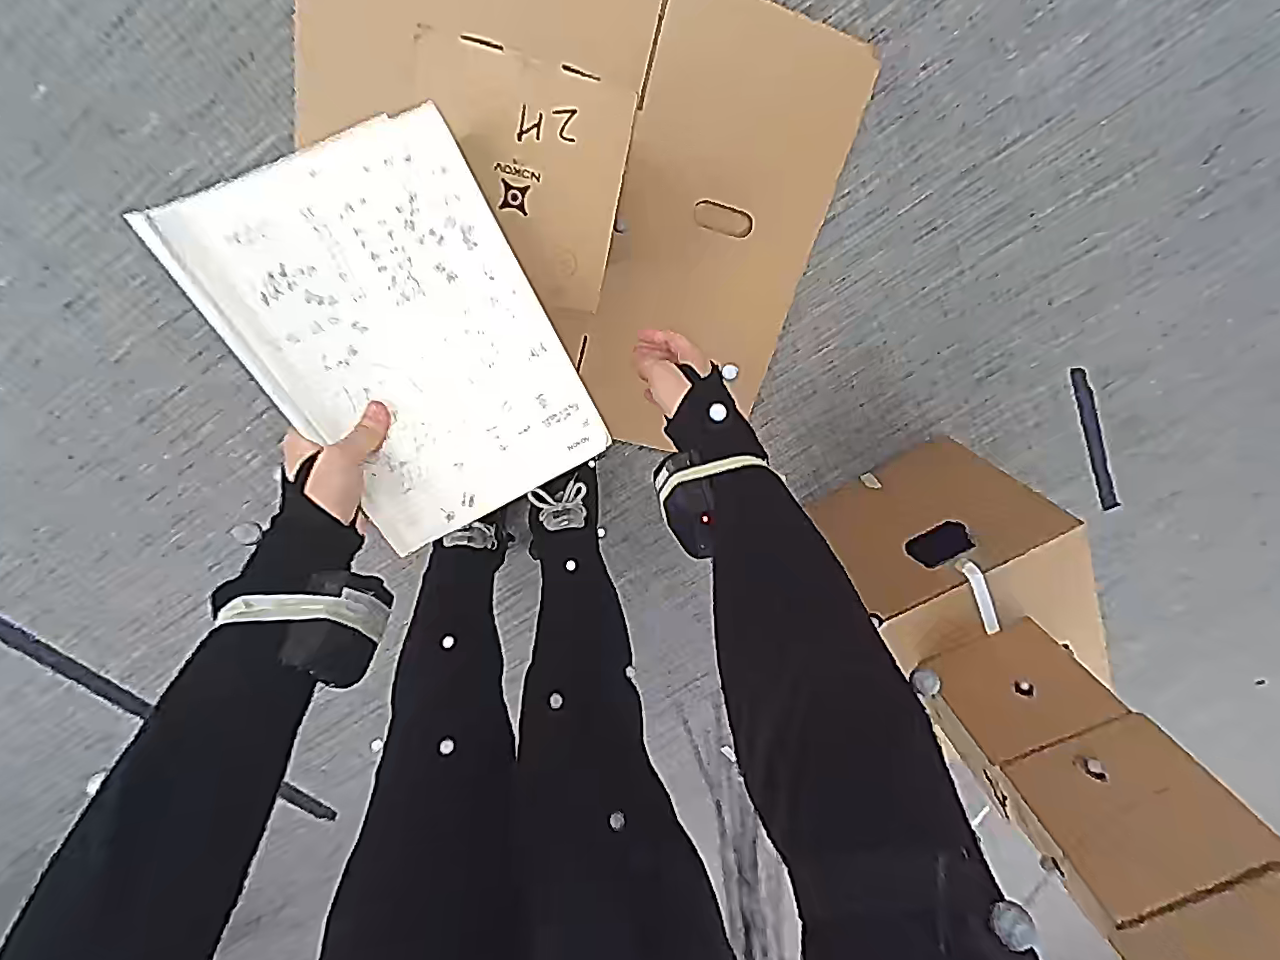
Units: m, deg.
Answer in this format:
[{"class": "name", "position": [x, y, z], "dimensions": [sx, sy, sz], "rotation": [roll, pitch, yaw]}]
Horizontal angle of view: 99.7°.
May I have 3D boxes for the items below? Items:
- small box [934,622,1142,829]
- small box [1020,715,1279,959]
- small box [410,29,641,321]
[{"class": "small box", "position": [0.541, 0.334, 0.753], "dimensions": [0.179, 0.176, 0.168], "rotation": [-27, 118, 7]}, {"class": "small box", "position": [0.568, 0.406, 0.609], "dimensions": [0.179, 0.176, 0.168], "rotation": [-29, 117, 9]}, {"class": "small box", "position": [-0.107, -0.268, 0.503], "dimensions": [0.168, 0.176, 0.179], "rotation": [7, 116, -14]}]
